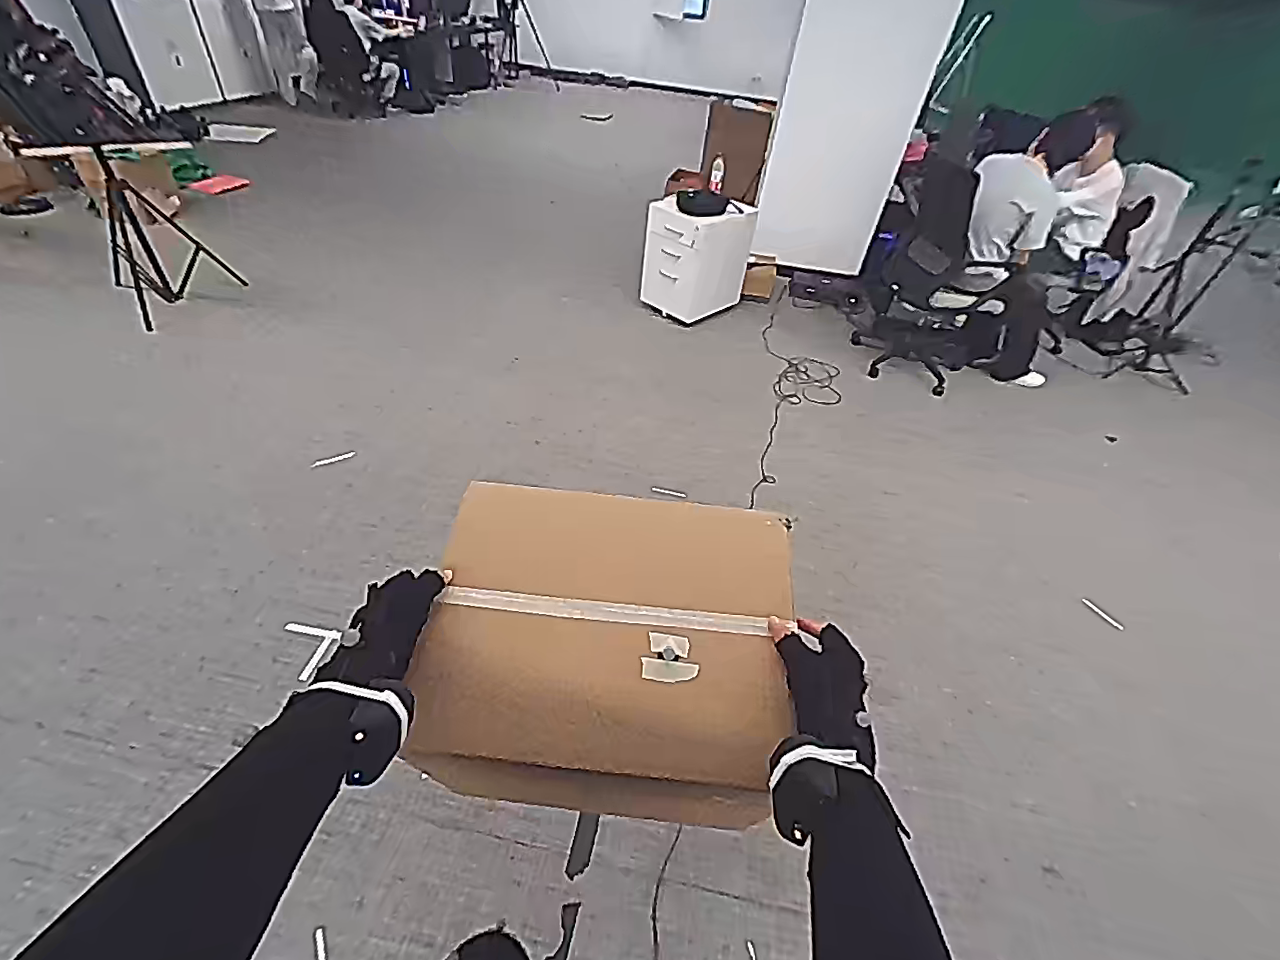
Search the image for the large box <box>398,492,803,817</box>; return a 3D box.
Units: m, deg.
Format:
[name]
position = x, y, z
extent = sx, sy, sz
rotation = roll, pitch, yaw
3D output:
[large box]
position = -0.037, 0.242, 0.728
extent = 0.408, 0.320, 0.320
rotation = 5, 53, 1
